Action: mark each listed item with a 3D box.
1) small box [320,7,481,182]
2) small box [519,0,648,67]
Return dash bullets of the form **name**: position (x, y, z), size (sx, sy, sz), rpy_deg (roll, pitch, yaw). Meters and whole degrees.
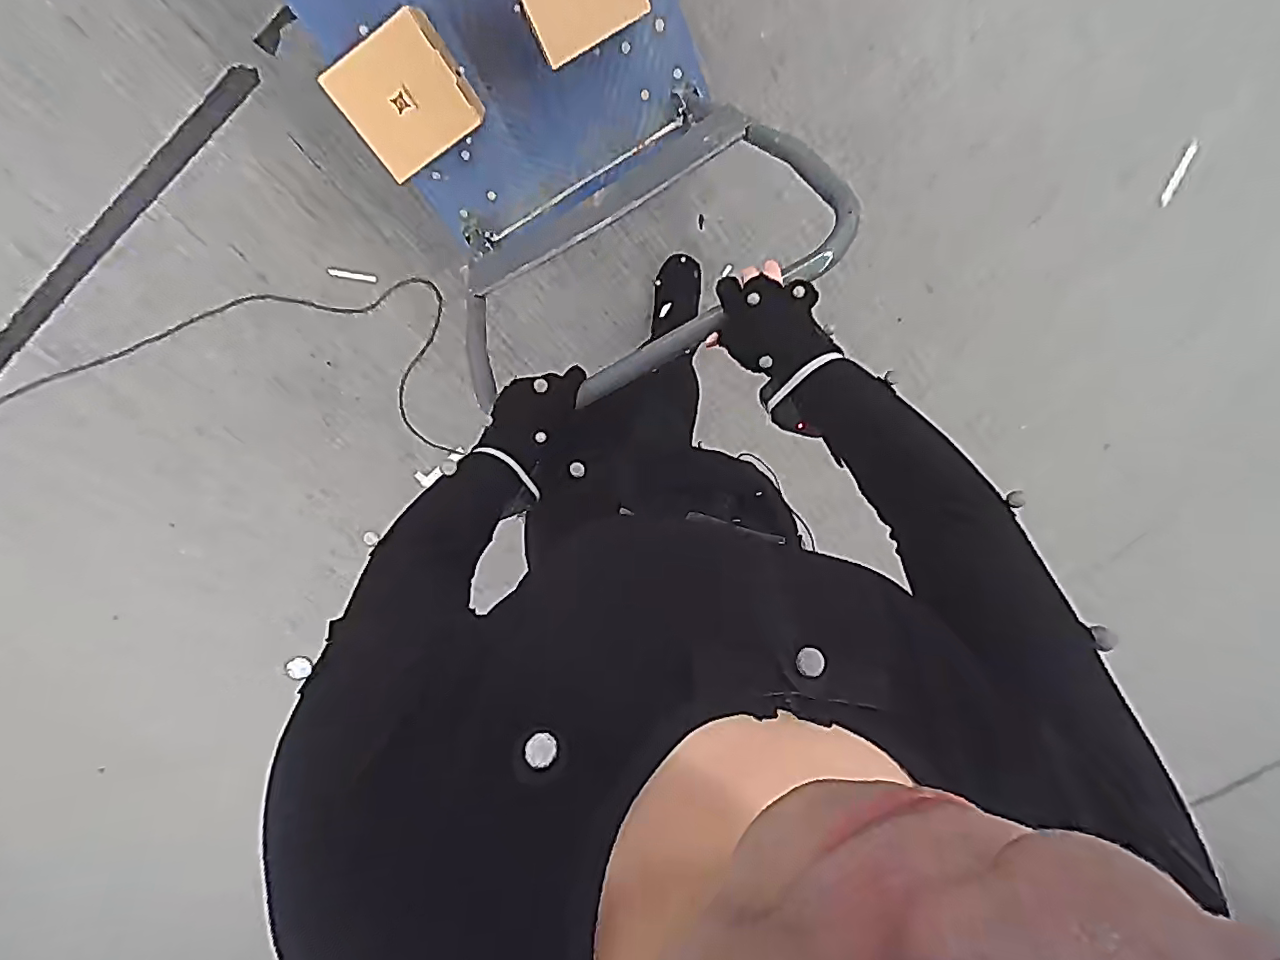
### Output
- **small box**: position (-0.382, -0.635, 0.900), size (0.179, 0.176, 0.168), rpy_deg (-31, 128, 10)
- **small box**: position (-0.107, -0.781, 0.843), size (0.179, 0.176, 0.168), rpy_deg (-25, 130, 8)
